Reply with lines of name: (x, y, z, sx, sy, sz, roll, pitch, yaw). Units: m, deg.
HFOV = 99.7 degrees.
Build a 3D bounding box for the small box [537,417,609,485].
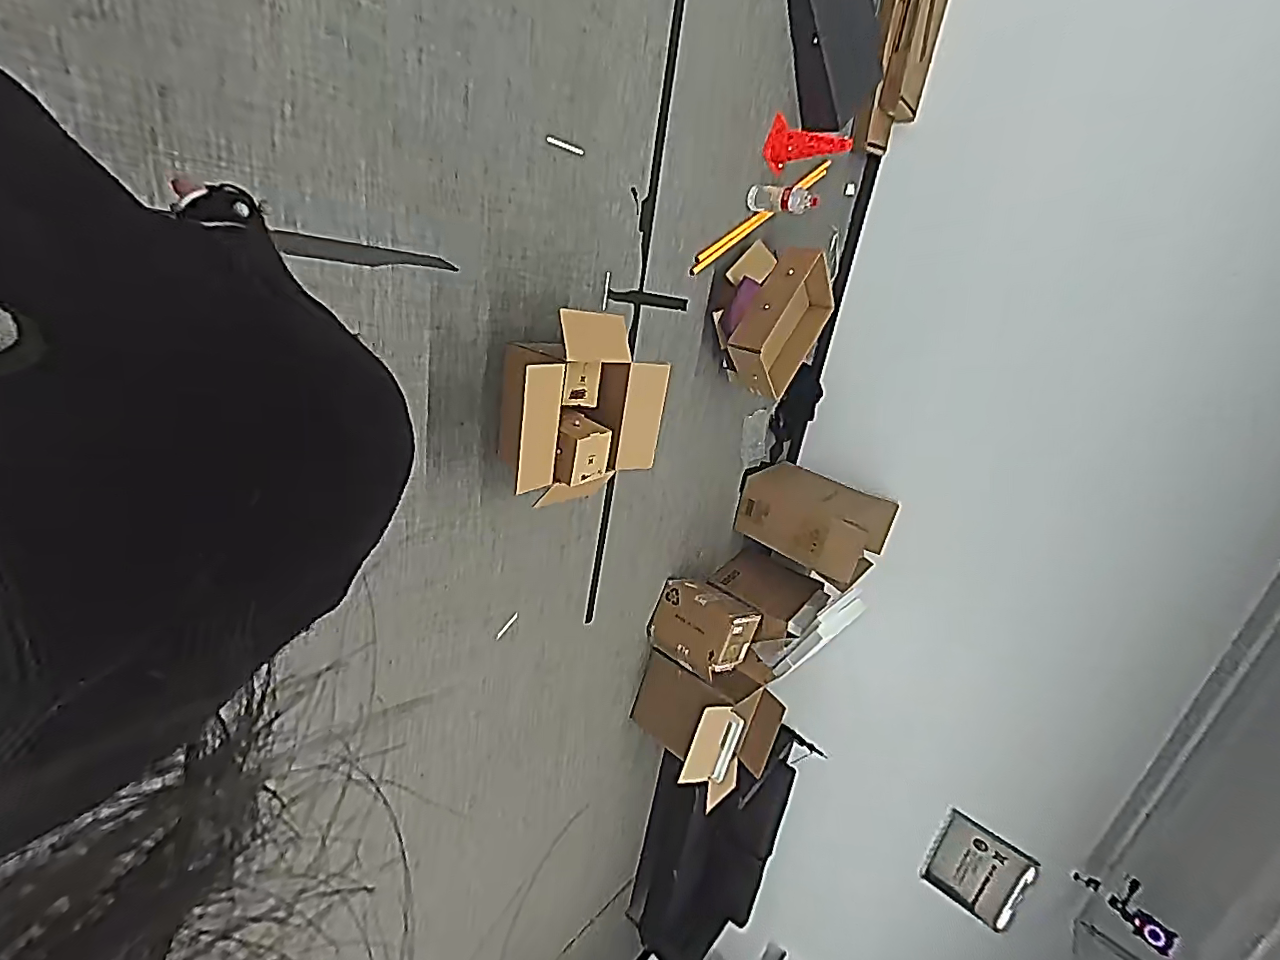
small box: (-0.230, -0.106, 1.834, 0.168, 0.176, 0.179, -19, 128, -48)
